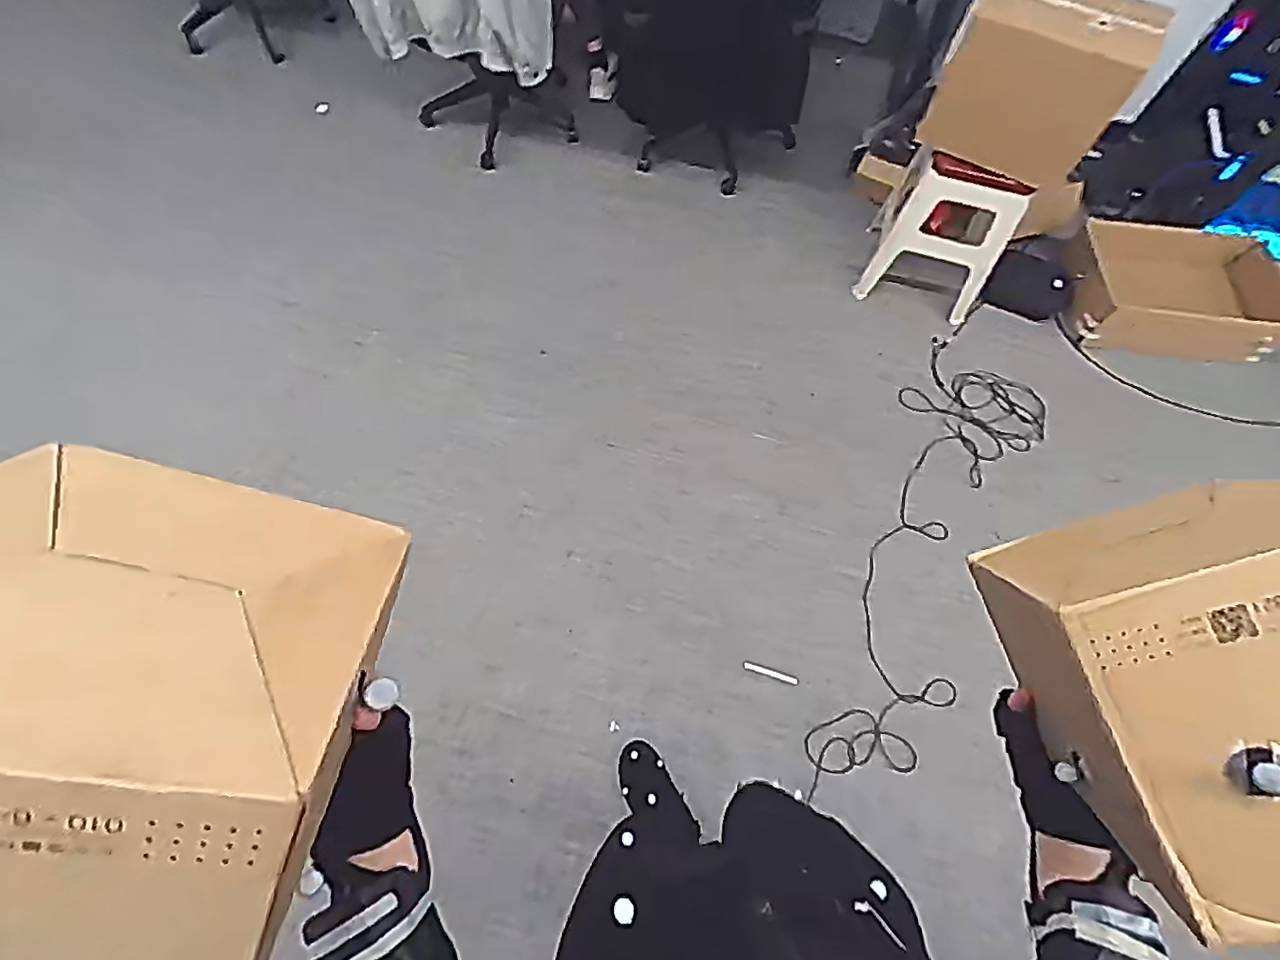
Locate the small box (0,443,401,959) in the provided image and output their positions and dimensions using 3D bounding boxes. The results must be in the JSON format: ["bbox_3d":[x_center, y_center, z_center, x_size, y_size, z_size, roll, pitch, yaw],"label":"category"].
[{"bbox_3d":[-0.215,0.098,0.217,0.168,0.179,0.176,18,104,-18],"label":"small box"}]

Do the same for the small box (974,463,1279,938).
[{"bbox_3d":[0.321,0.094,0.302,0.168,0.179,0.176,-22,85,17],"label":"small box"}]
